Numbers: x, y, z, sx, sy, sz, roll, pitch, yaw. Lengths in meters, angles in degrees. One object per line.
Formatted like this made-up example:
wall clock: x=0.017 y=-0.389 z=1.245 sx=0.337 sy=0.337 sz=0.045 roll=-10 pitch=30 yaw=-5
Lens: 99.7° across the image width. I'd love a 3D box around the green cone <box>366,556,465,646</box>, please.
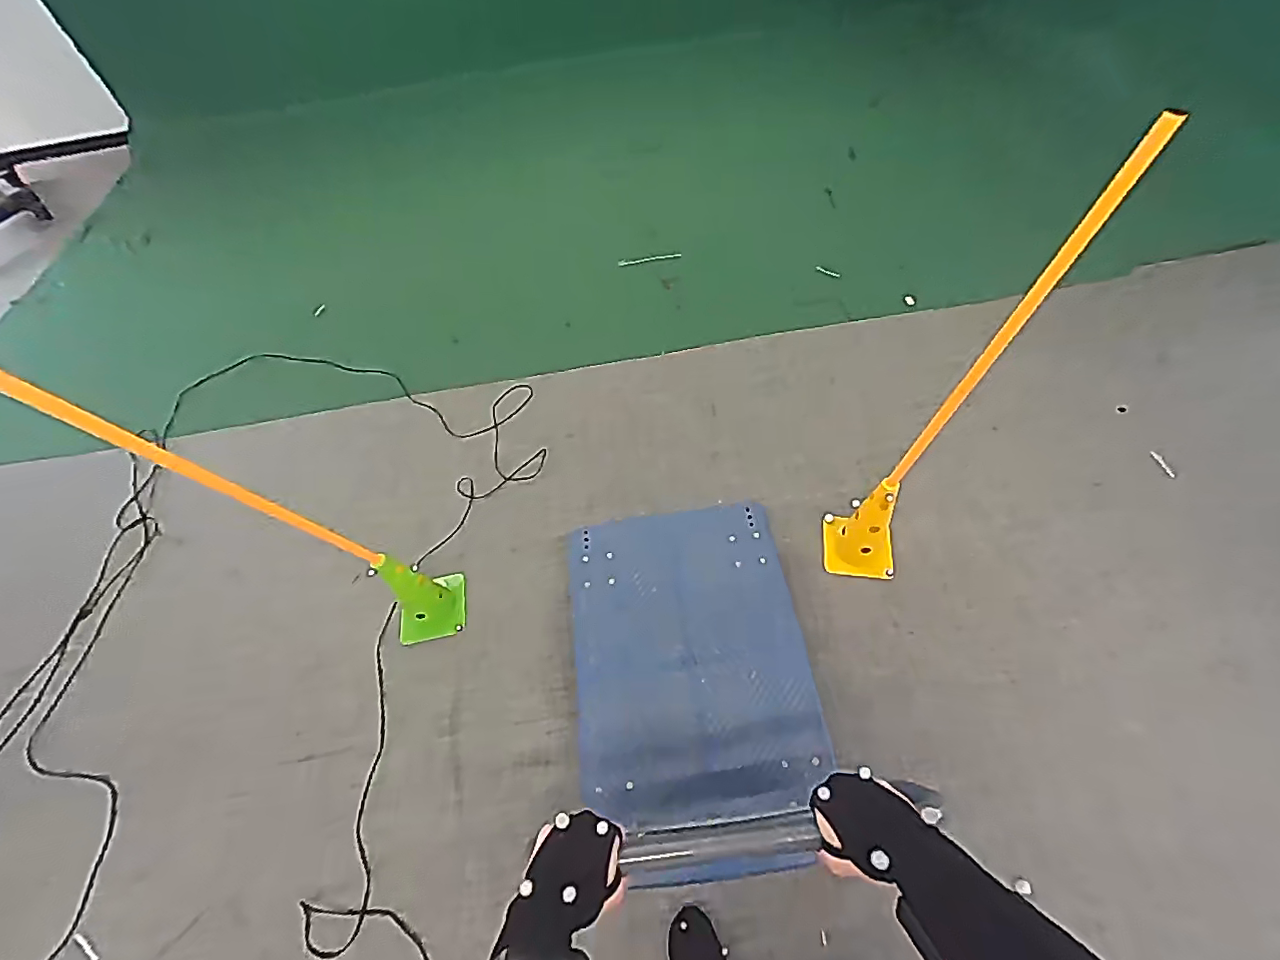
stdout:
green cone: x=-0.665 y=0.308 z=1.545 sx=0.202 sy=0.368 sz=0.200 roll=-14 pitch=55 yaw=-1
